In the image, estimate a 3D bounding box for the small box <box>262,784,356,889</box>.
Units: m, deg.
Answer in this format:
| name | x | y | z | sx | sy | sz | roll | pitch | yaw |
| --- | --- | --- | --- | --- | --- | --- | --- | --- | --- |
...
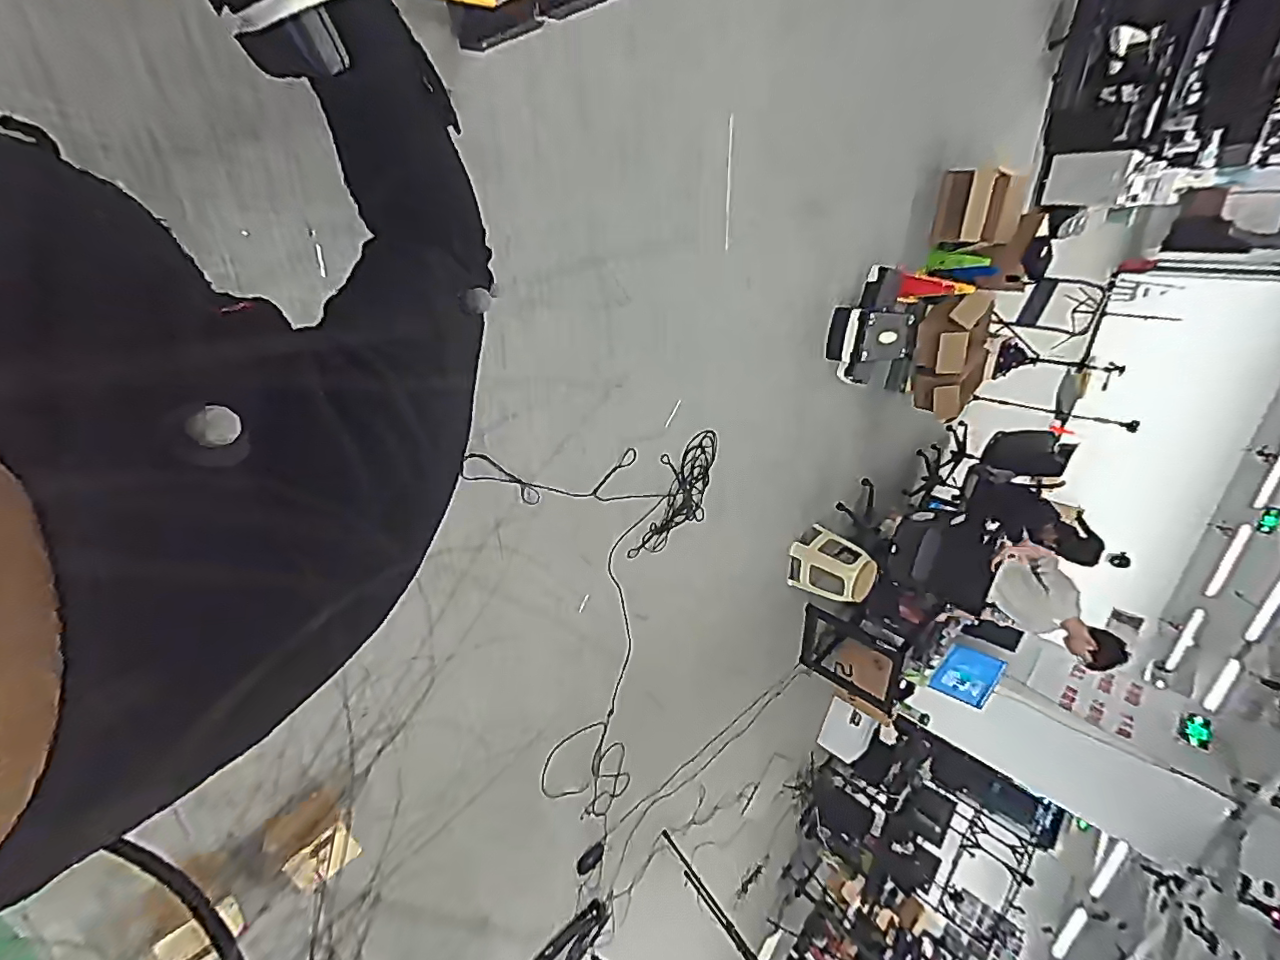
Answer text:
| name | x | y | z | sx | sy | sz | roll | pitch | yaw |
| --- | --- | --- | --- | --- | --- | --- | --- | --- | --- |
| small box | -0.985 | 1.048 | 1.607 | 0.168 | 0.176 | 0.179 | -31 | 129 | -33 |
